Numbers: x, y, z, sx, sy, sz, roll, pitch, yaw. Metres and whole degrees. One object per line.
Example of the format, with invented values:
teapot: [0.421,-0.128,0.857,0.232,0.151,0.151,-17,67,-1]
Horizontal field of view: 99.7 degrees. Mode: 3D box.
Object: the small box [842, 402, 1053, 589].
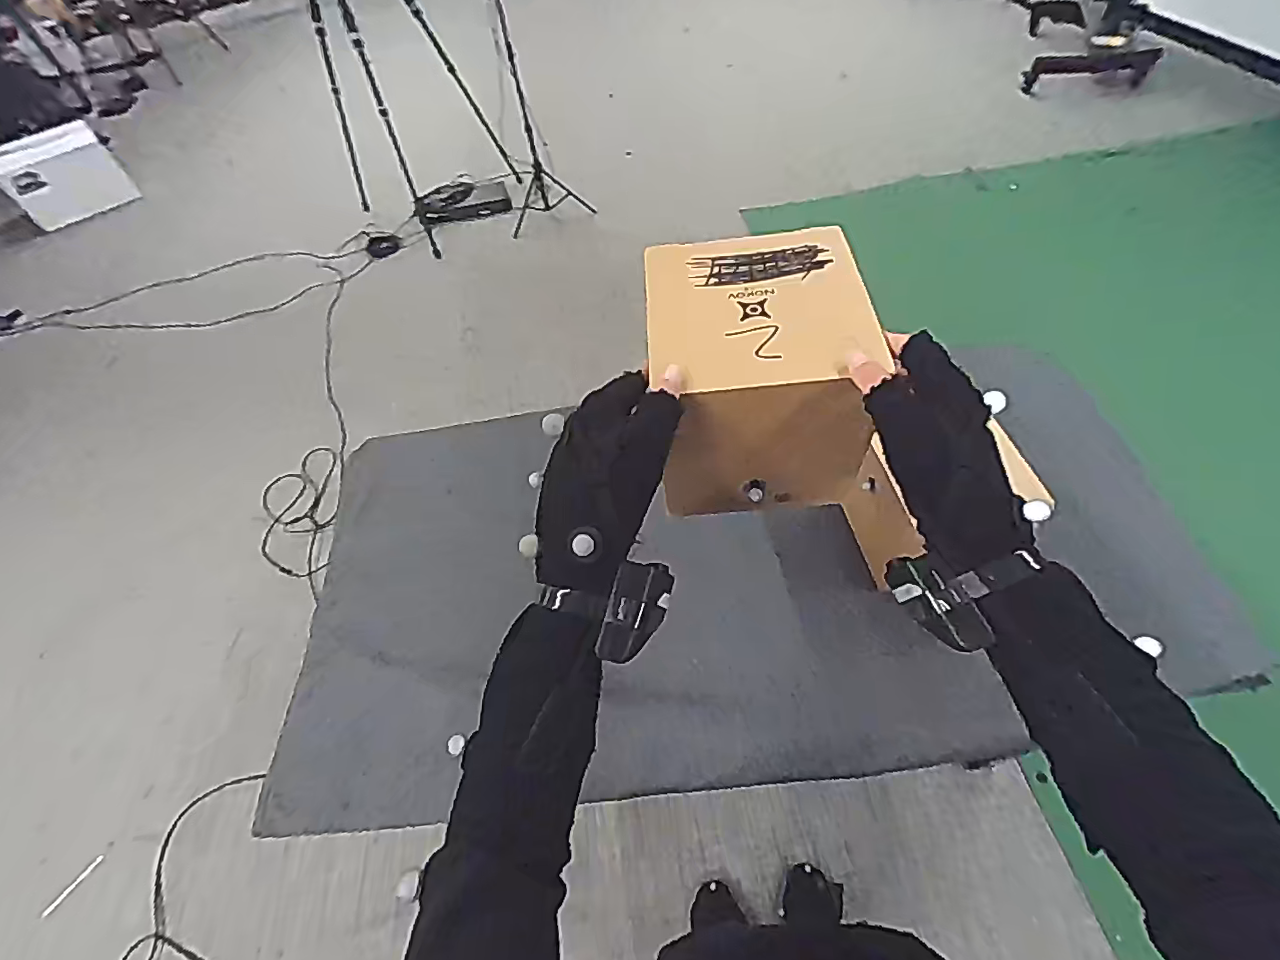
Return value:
small box: [0.392,0.024,0.733,0.168,0.176,0.179,-10,53,1]
